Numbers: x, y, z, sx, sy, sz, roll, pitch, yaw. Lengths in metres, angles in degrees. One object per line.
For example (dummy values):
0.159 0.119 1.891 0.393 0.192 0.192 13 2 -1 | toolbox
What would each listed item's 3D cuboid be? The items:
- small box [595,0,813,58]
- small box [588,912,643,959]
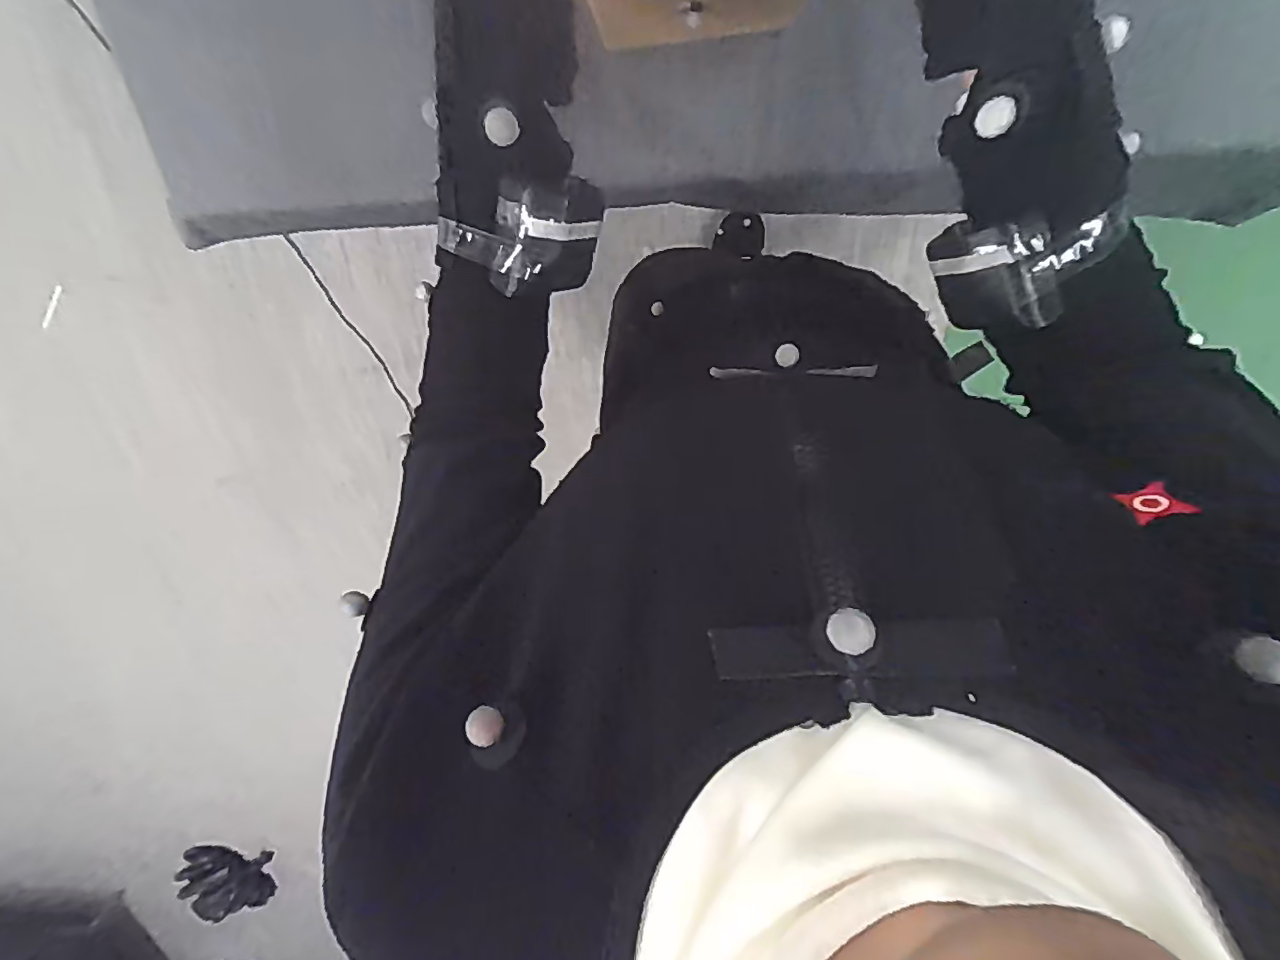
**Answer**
0.046 -0.438 0.393 0.179 0.176 0.168 -6 116 5 | small box
-0.082 1.660 1.901 0.179 0.176 0.168 -5 114 7 | small box
